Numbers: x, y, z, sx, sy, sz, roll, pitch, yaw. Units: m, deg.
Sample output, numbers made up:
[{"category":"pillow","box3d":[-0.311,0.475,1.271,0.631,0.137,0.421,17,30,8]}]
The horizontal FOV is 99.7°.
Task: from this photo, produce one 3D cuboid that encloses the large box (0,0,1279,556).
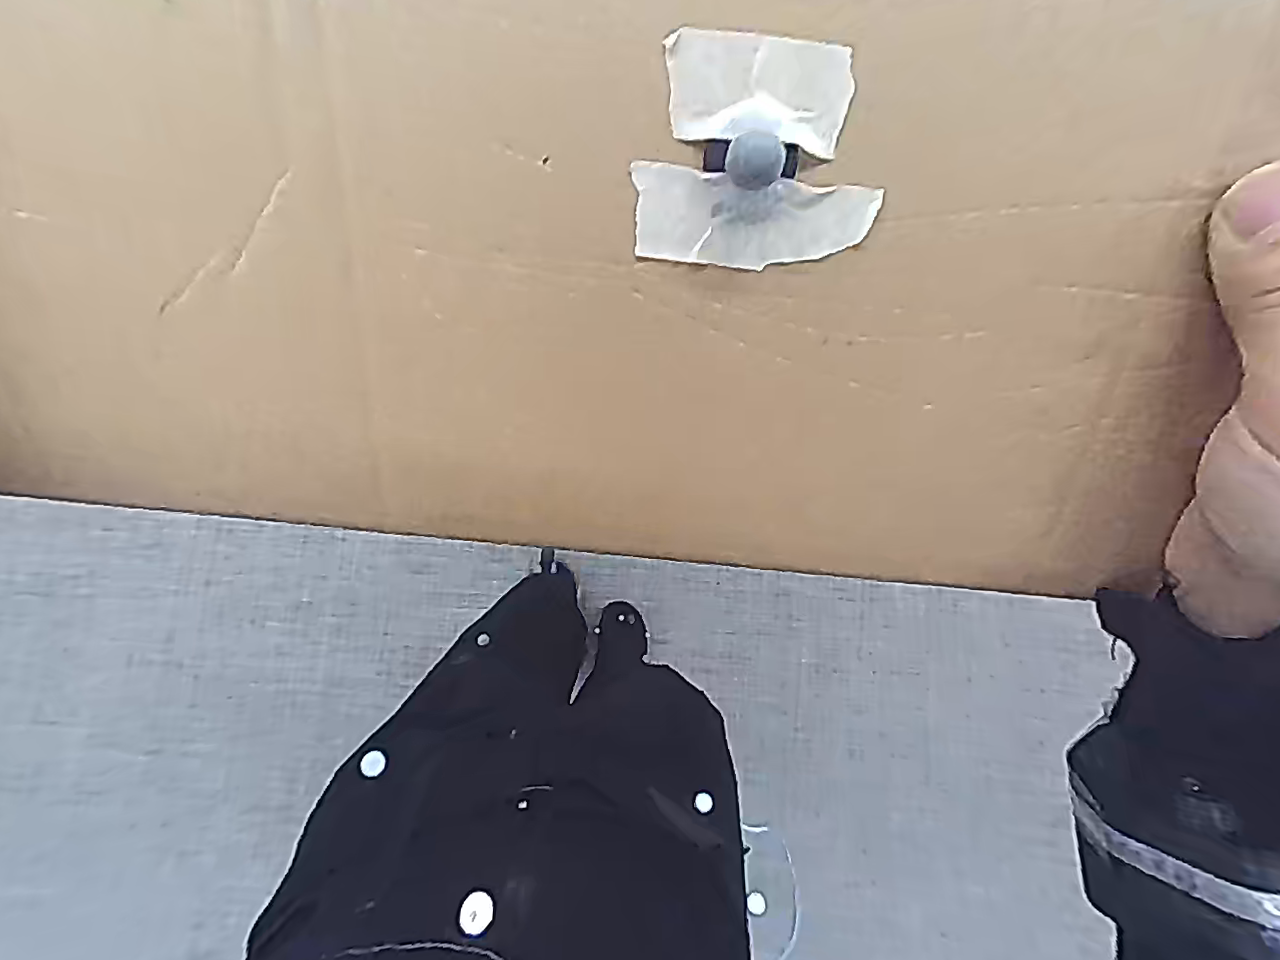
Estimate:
[{"category":"large box","box3d":[-0.023,-0.181,0.271,0.408,0.320,0.320,4,112,2]}]
